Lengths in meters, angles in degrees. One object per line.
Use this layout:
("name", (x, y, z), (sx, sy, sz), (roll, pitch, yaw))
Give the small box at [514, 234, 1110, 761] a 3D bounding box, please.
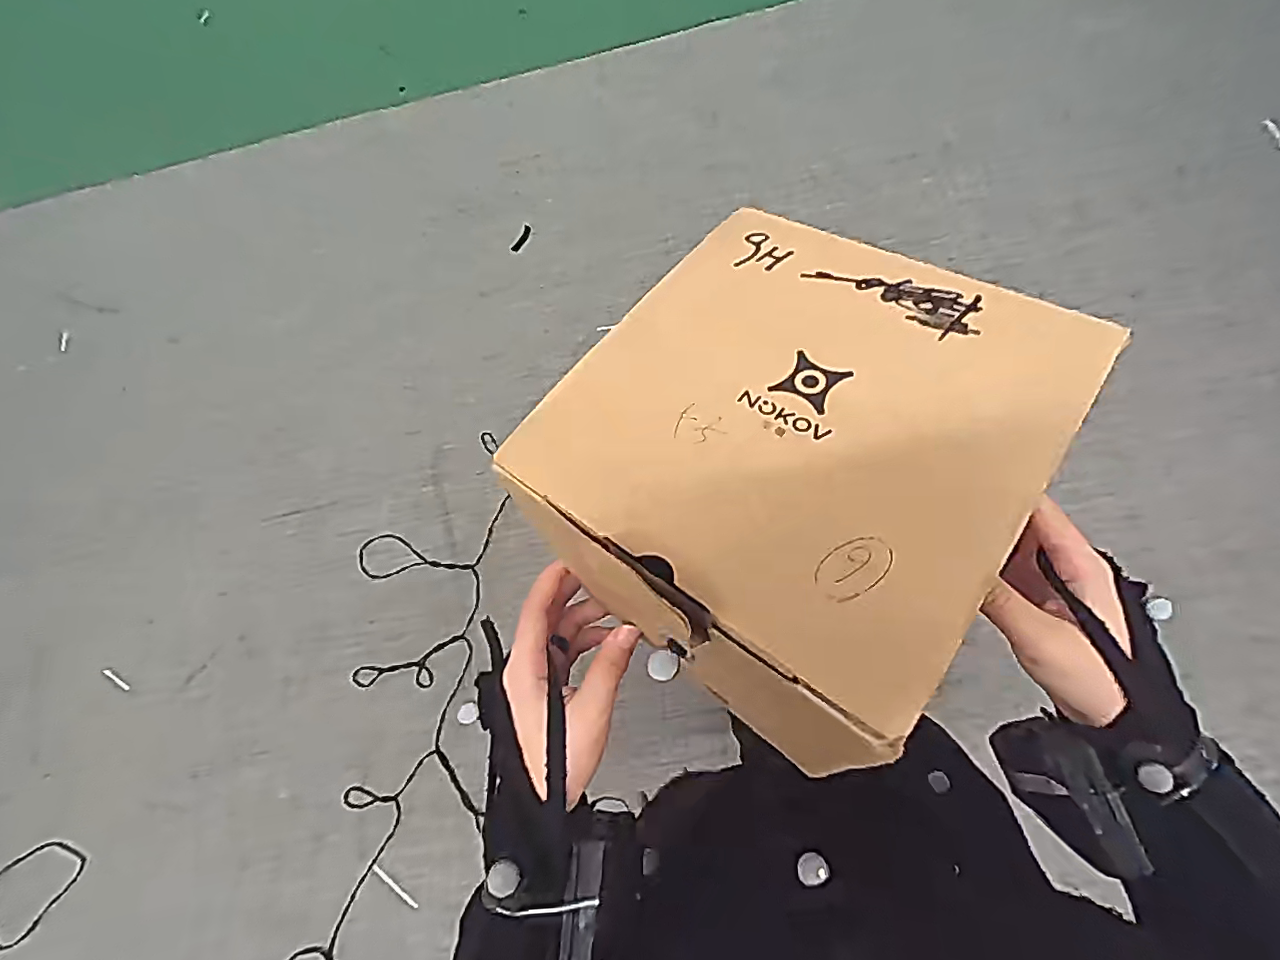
("small box", (0.075, 0.017, 0.278), (0.168, 0.176, 0.179), (32, 71, 25))
